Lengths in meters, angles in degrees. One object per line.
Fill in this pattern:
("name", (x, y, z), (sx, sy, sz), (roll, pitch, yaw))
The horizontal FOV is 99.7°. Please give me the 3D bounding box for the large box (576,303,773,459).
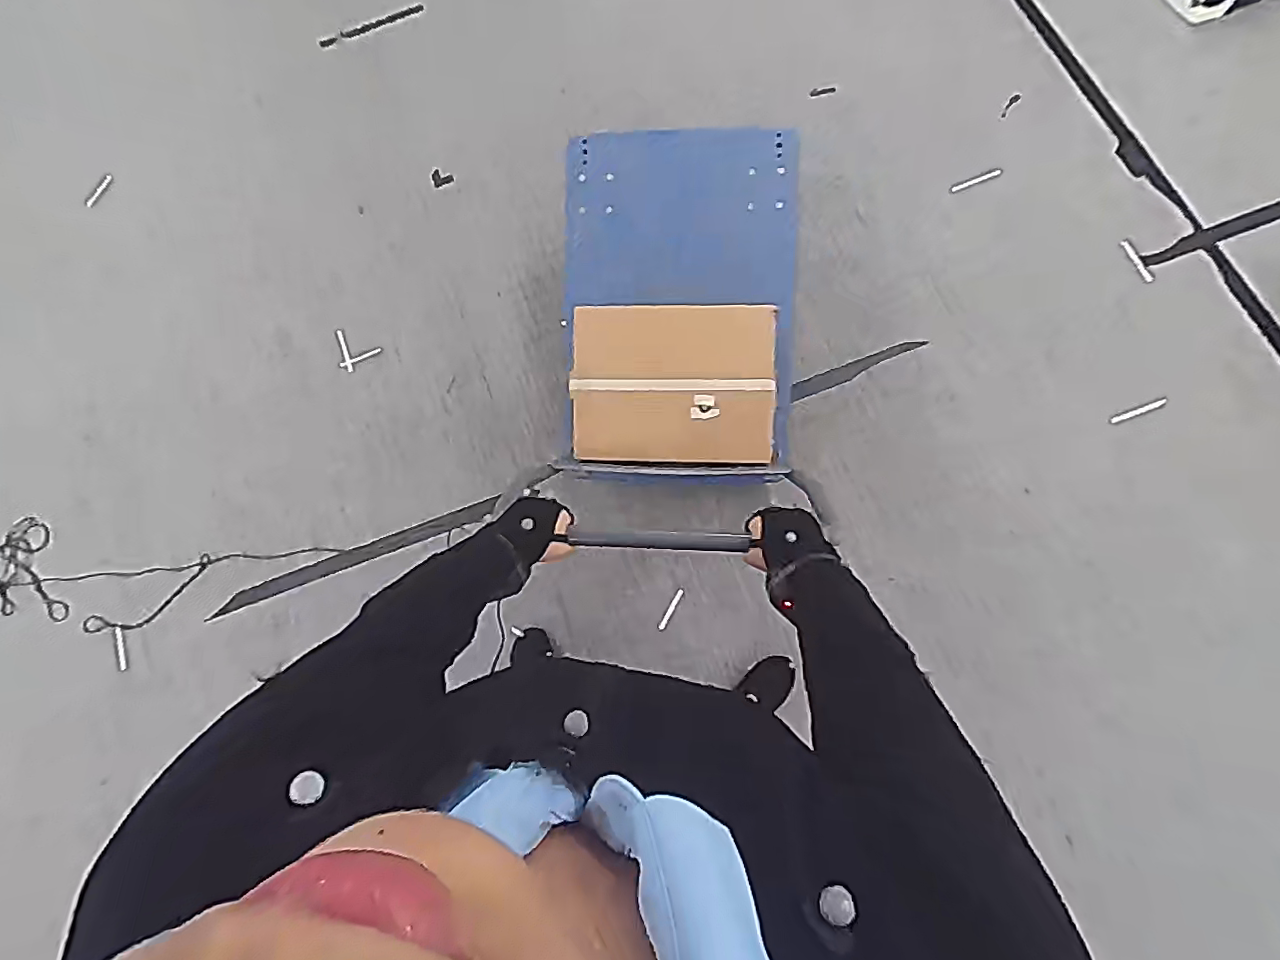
("large box", (0.077, -0.211, 1.252), (0.408, 0.320, 0.320), (0, 95, 4))
